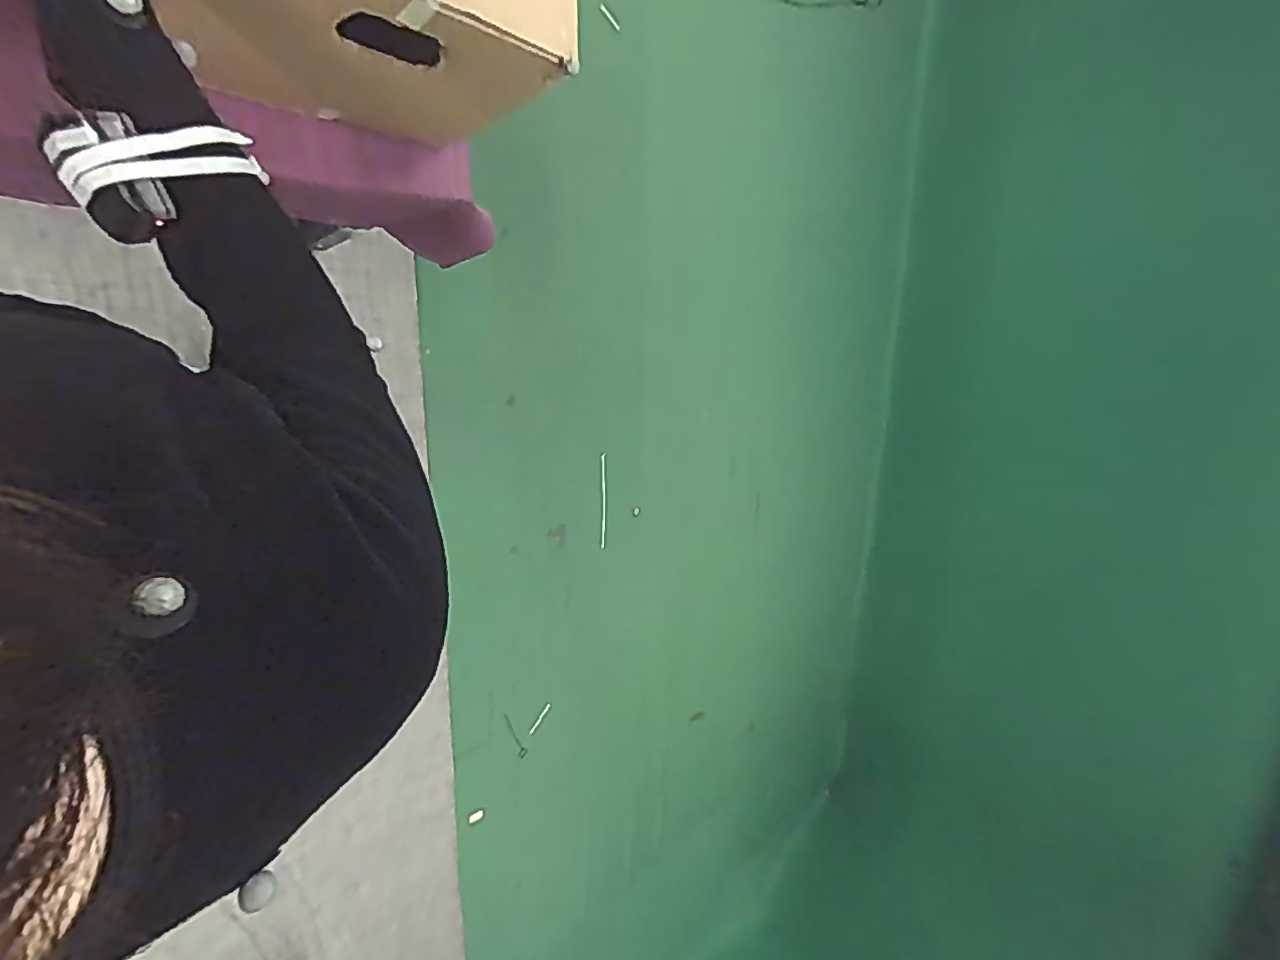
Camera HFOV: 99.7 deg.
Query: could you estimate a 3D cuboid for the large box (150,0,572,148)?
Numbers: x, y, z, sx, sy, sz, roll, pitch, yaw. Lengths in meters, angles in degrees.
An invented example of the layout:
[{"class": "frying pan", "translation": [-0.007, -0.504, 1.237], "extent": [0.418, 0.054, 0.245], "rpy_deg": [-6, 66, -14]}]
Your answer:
[{"class": "large box", "translation": [-0.284, -0.609, 0.515], "extent": [0.320, 0.320, 0.408], "rpy_deg": [-12, 109, -42]}]
